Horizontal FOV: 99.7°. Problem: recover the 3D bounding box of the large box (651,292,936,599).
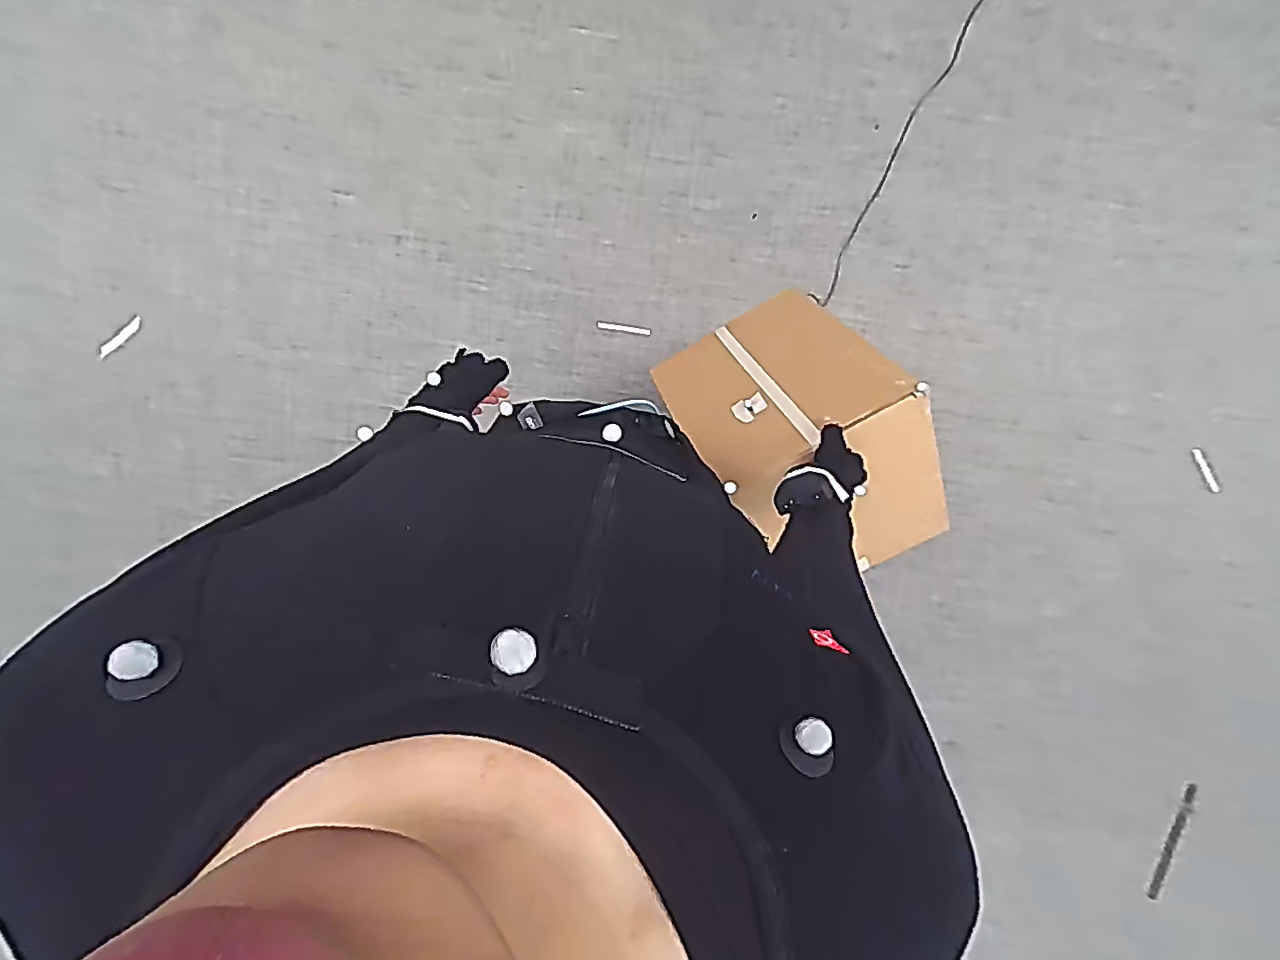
[{"bbox_3d":[0.262,-0.072,0.980,0.320,0.408,0.320,-30,130,8],"label":"large box"}]
